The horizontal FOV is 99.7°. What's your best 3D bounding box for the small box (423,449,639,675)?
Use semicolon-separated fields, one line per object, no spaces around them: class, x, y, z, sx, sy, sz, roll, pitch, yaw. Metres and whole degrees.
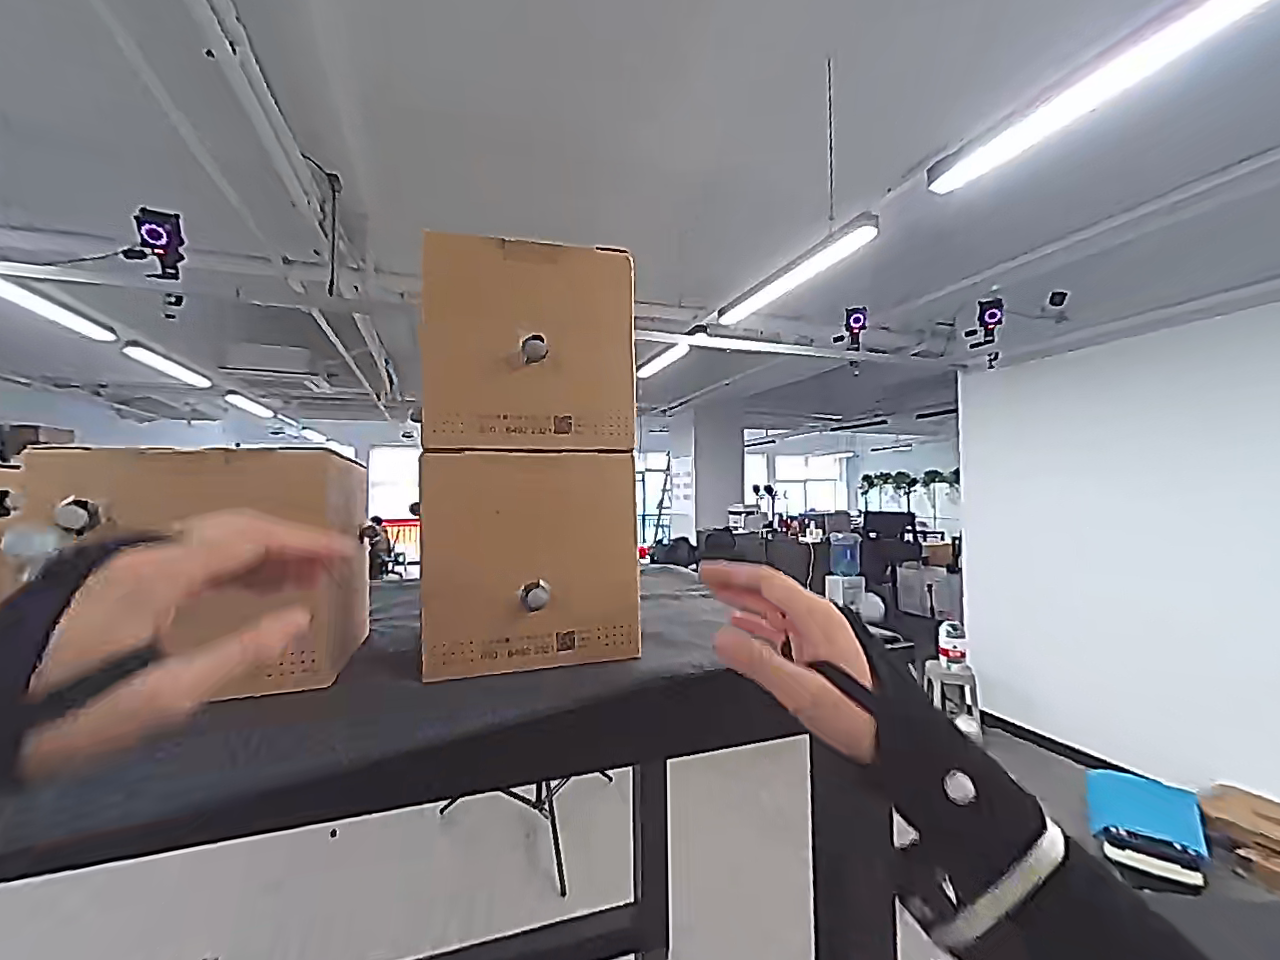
small box;-0.104;0.065;0.492;0.168;0.176;0.179;-2;-2;-18

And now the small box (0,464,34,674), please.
small box;-0.565;0.071;0.354;0.168;0.176;0.179;0;-4;-17

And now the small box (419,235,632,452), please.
small box;-0.107;-0.098;0.501;0.168;0.176;0.179;-1;-2;-17
